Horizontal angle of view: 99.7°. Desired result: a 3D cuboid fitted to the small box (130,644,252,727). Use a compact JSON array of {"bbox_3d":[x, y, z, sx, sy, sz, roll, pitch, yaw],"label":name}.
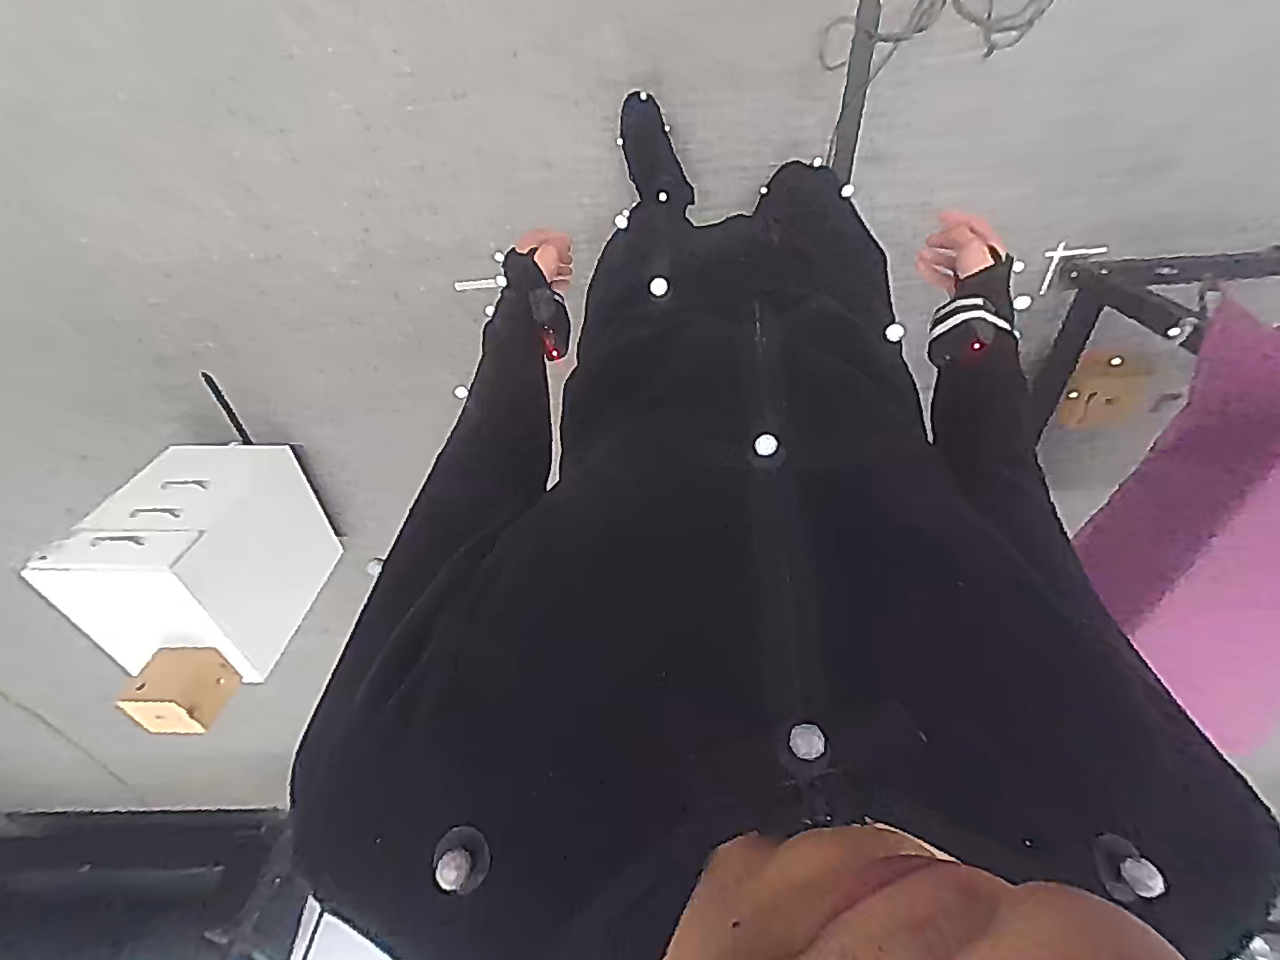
[{"bbox_3d":[-1.287,0.592,1.566,0.179,0.176,0.168,-1,129,3],"label":"small box"}]
